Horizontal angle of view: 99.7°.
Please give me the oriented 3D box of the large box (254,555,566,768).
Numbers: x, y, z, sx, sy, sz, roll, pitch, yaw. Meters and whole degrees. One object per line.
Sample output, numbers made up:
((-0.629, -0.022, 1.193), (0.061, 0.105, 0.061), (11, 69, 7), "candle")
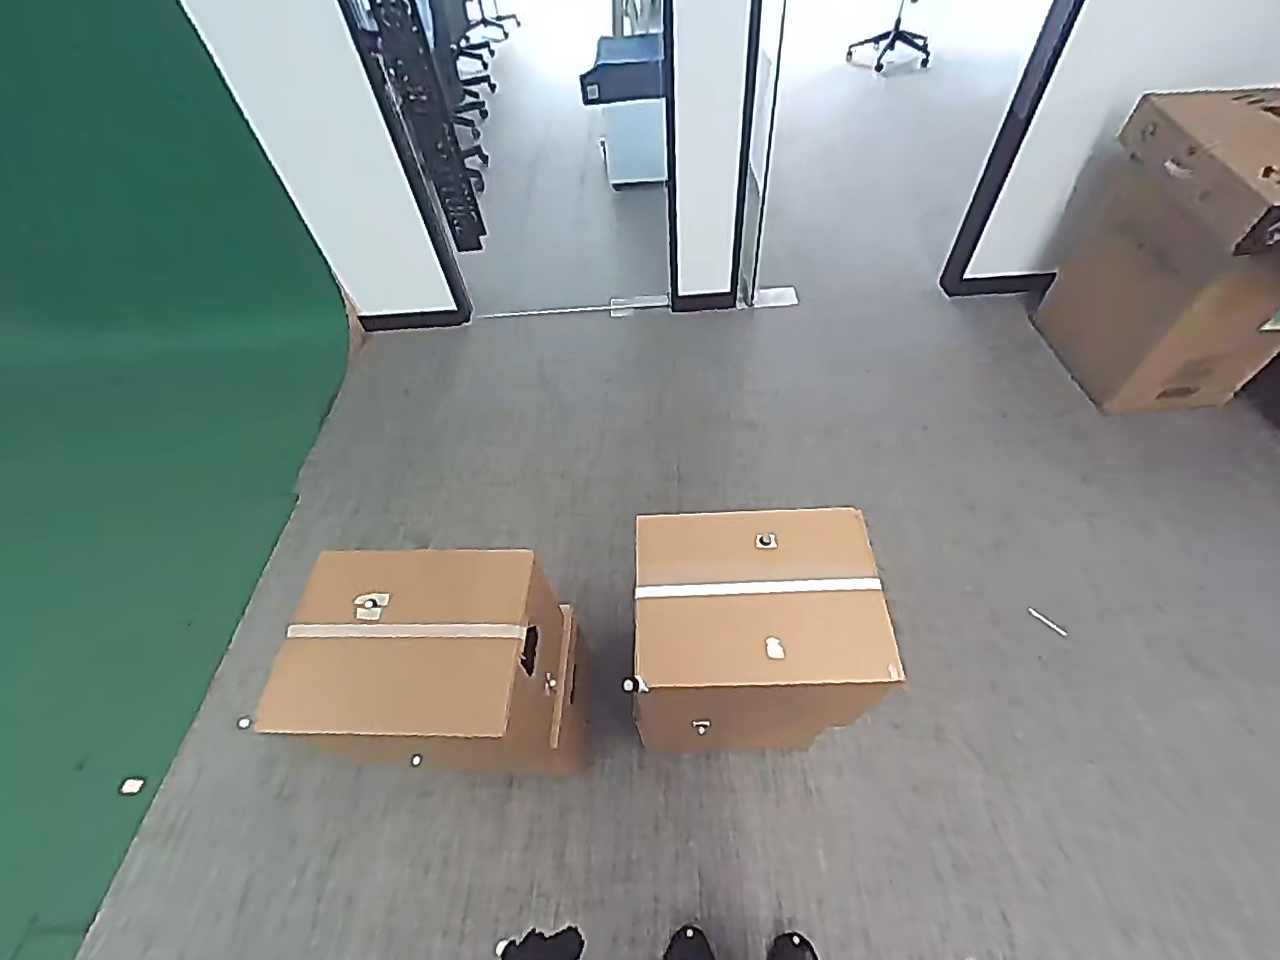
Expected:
((-0.376, 0.350, 1.014), (0.408, 0.320, 0.320), (-1, 54, 6), "large box")
